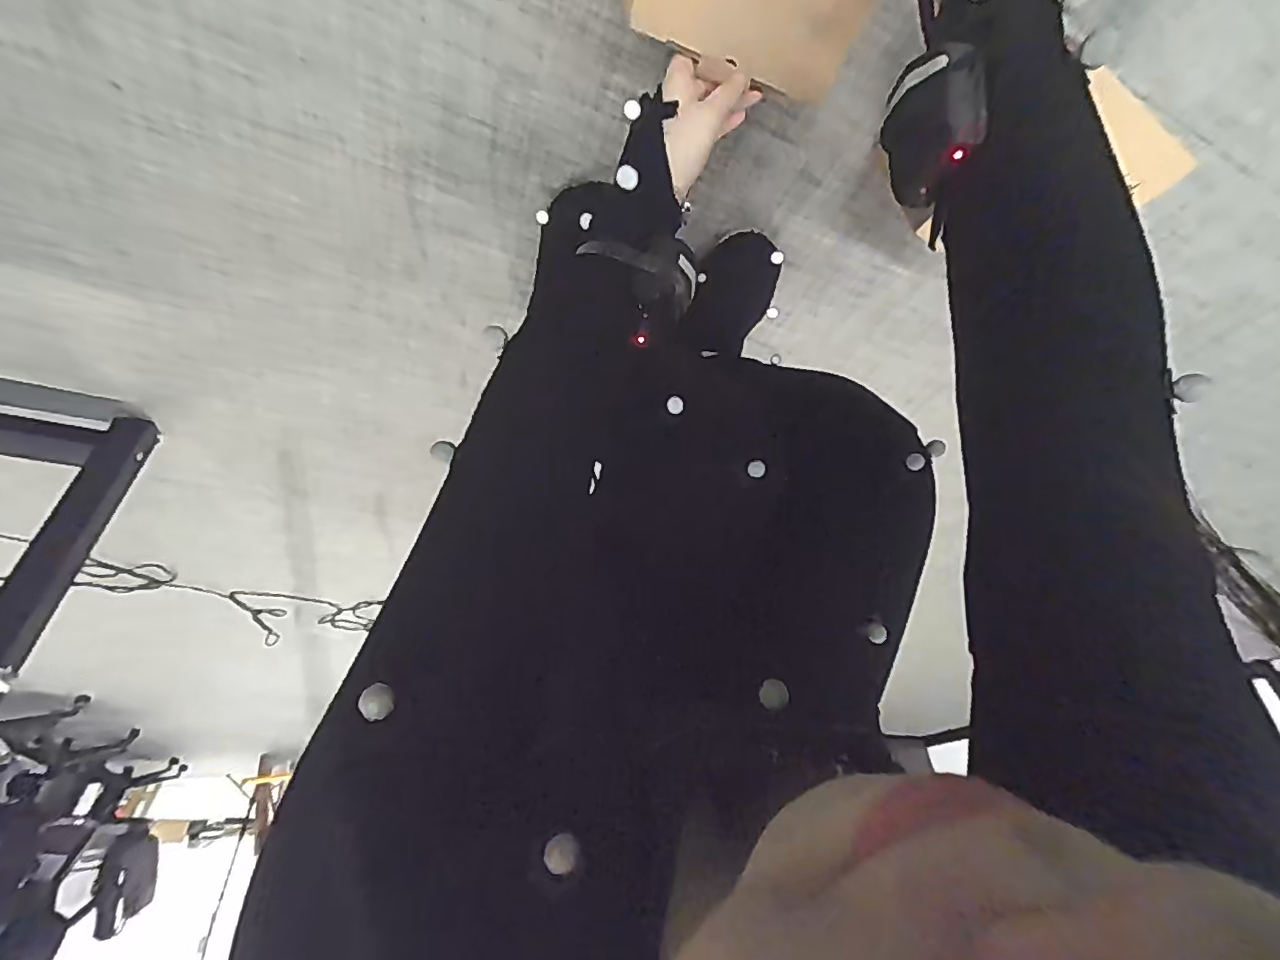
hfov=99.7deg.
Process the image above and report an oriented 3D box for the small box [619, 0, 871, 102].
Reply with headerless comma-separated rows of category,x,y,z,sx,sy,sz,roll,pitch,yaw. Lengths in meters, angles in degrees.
small box,0.091,-0.425,0.382,0.168,0.176,0.179,11,144,-18
